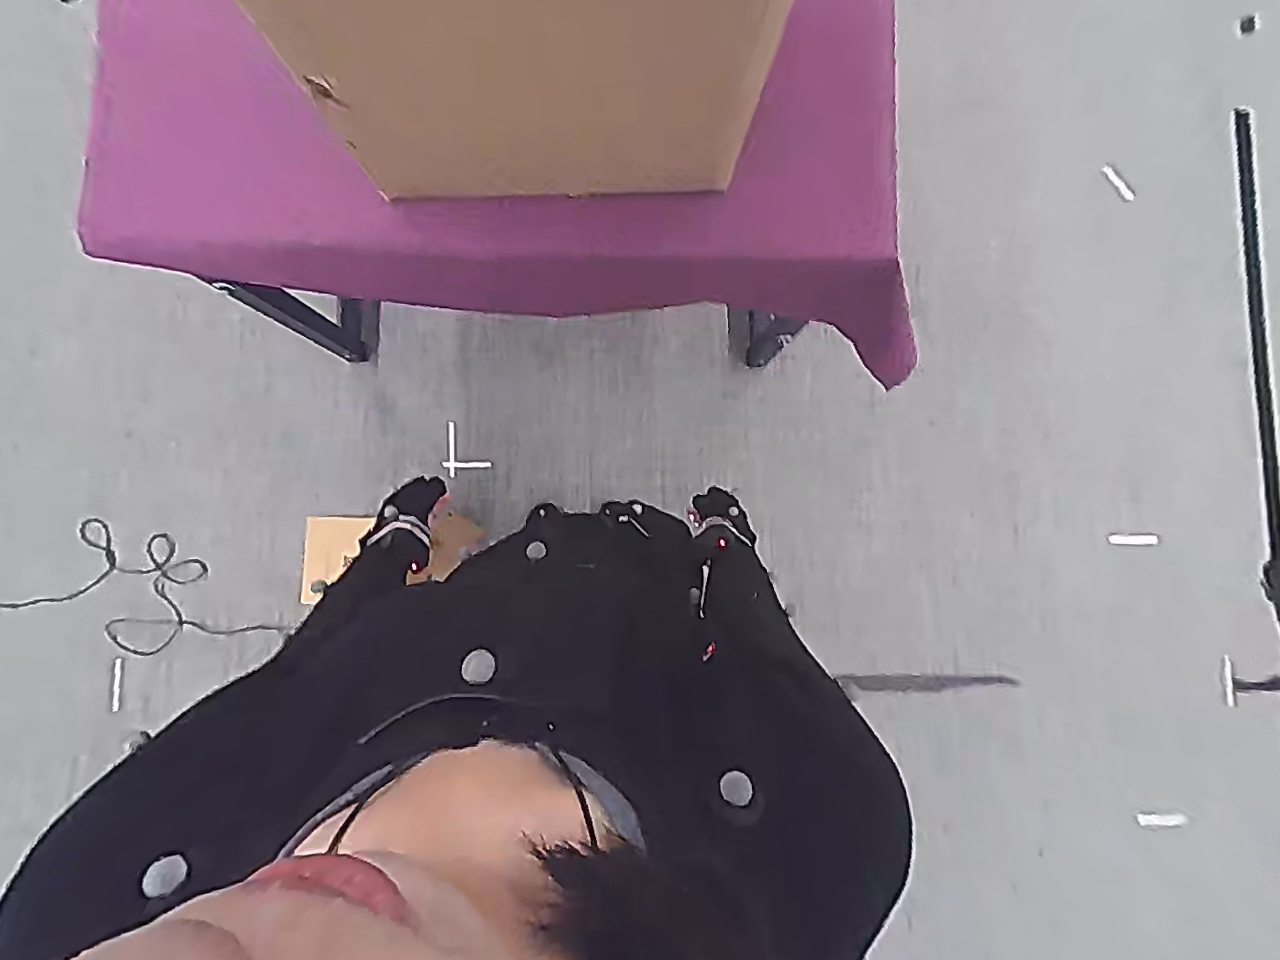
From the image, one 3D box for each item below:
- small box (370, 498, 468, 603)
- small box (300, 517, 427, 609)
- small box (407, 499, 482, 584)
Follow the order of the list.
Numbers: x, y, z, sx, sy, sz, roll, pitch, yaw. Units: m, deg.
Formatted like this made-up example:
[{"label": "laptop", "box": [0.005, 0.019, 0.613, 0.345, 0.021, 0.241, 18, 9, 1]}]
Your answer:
[{"label": "small box", "box": [-0.532, 0.160, 1.249, 0.179, 0.176, 0.168, 33, 86, 0]}, {"label": "small box", "box": [-0.543, 0.161, 1.085, 0.179, 0.176, 0.168, 2, 85, -2]}, {"label": "small box", "box": [-0.543, 0.165, 1.412, 0.179, 0.176, 0.168, 31, 86, -1]}]
